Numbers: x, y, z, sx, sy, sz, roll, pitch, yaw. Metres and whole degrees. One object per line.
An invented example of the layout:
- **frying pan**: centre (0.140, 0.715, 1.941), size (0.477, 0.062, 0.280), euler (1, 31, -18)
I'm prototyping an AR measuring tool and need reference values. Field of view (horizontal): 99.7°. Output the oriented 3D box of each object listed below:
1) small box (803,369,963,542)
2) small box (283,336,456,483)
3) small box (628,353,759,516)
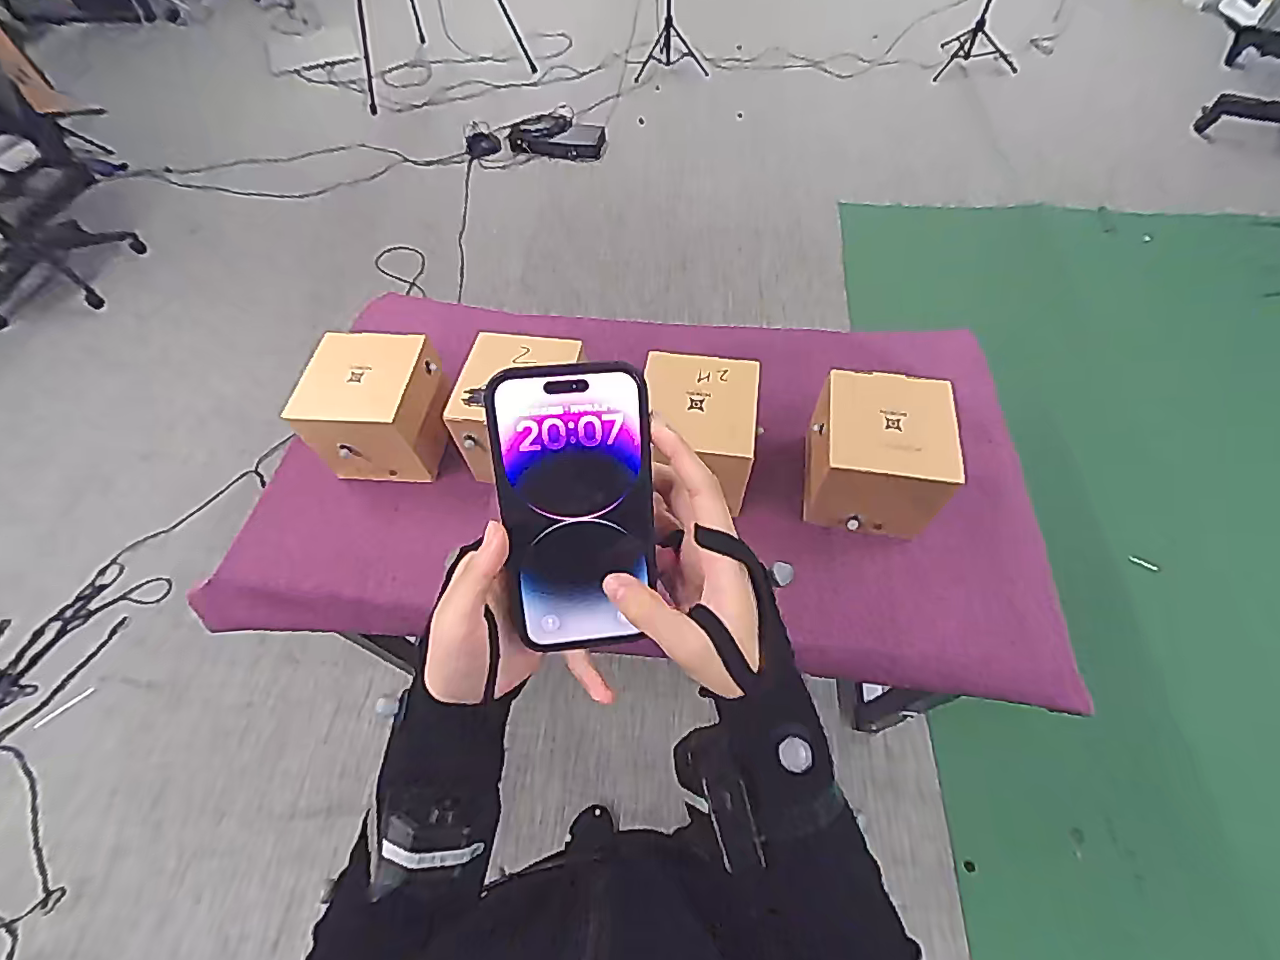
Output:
- **small box**: centre (0.339, -0.033, 0.790), size (0.168, 0.176, 0.179), euler (8, 58, 8)
- **small box**: centre (-0.415, -0.108, 0.867), size (0.168, 0.176, 0.179), euler (2, 57, 4)
- **small box**: centre (0.082, -0.064, 0.818), size (0.168, 0.176, 0.179), euler (7, 58, 6)
